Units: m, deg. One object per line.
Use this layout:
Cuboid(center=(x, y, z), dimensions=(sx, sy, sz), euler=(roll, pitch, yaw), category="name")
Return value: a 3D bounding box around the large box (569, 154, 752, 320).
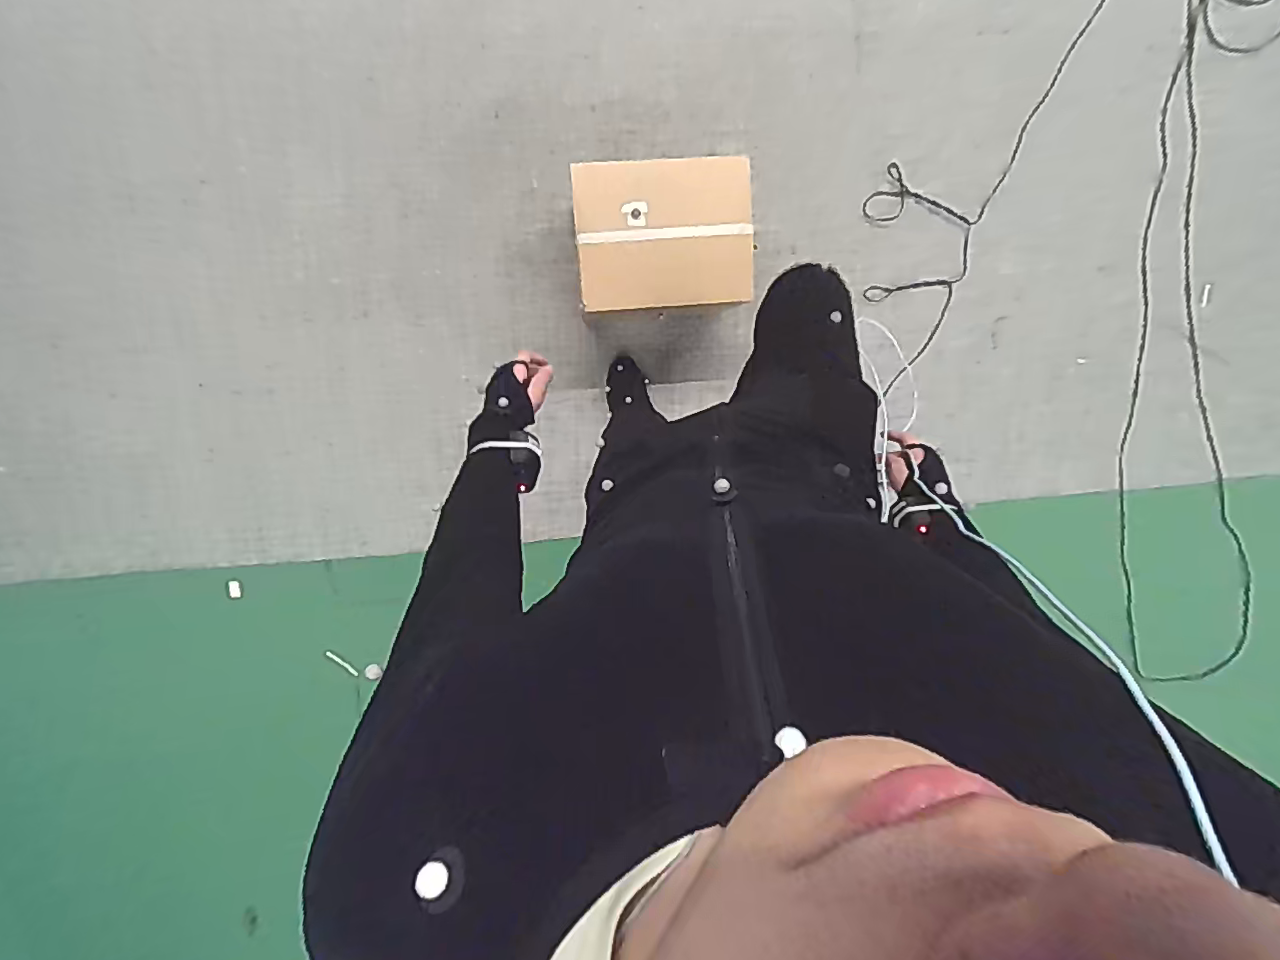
Cuboid(center=(0.044, -0.591, 1.376), dimensions=(0.408, 0.320, 0.320), euler=(-6, 102, -3), category="large box")
